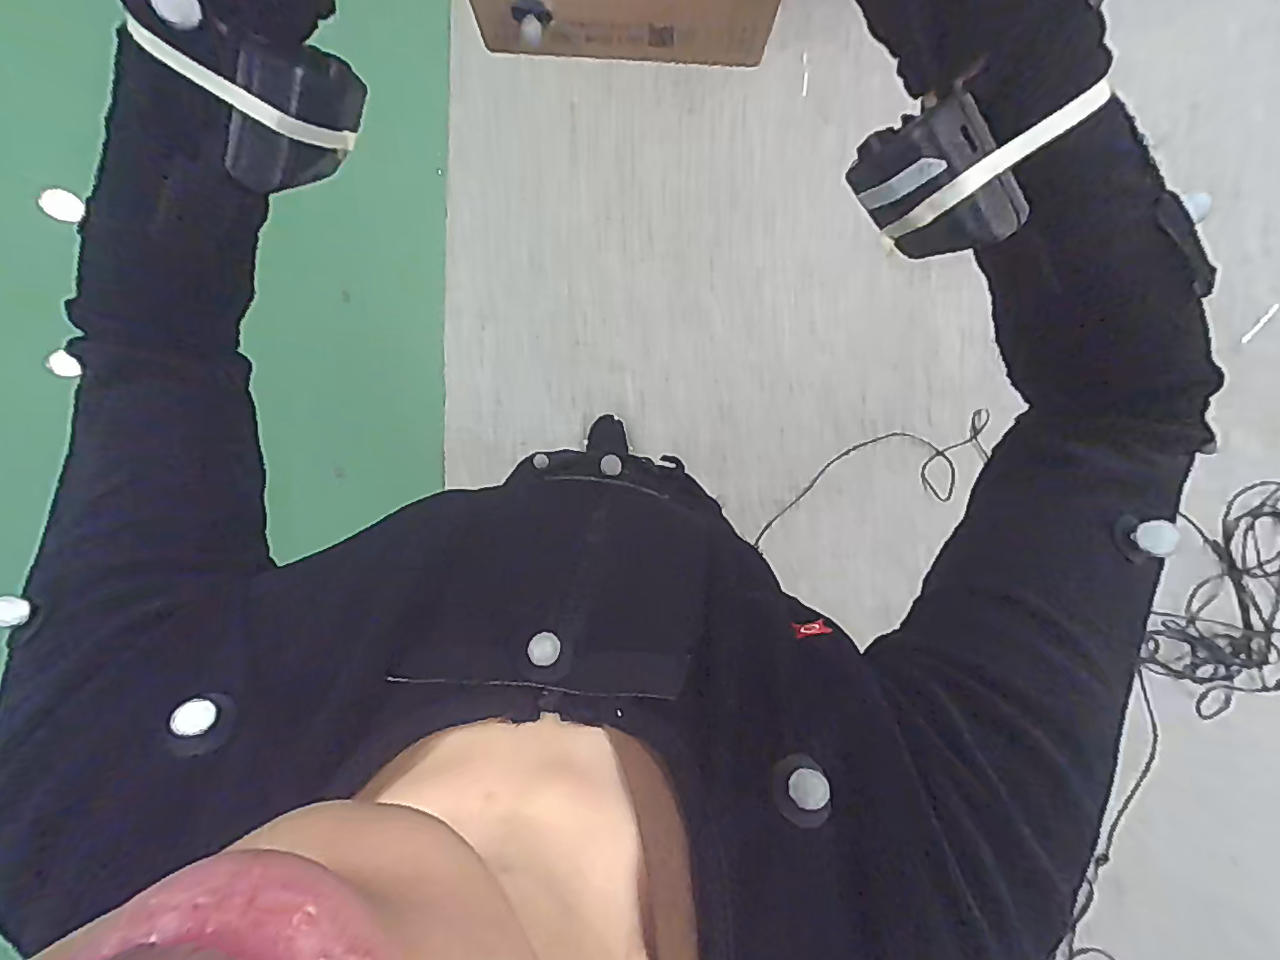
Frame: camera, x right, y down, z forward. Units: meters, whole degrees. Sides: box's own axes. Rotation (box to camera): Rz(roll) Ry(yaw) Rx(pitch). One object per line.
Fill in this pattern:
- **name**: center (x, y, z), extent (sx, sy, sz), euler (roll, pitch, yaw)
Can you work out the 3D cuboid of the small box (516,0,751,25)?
- **small box**: center (-0.012, -0.352, 0.238), extent (0.168, 0.176, 0.179), euler (3, 89, -1)
